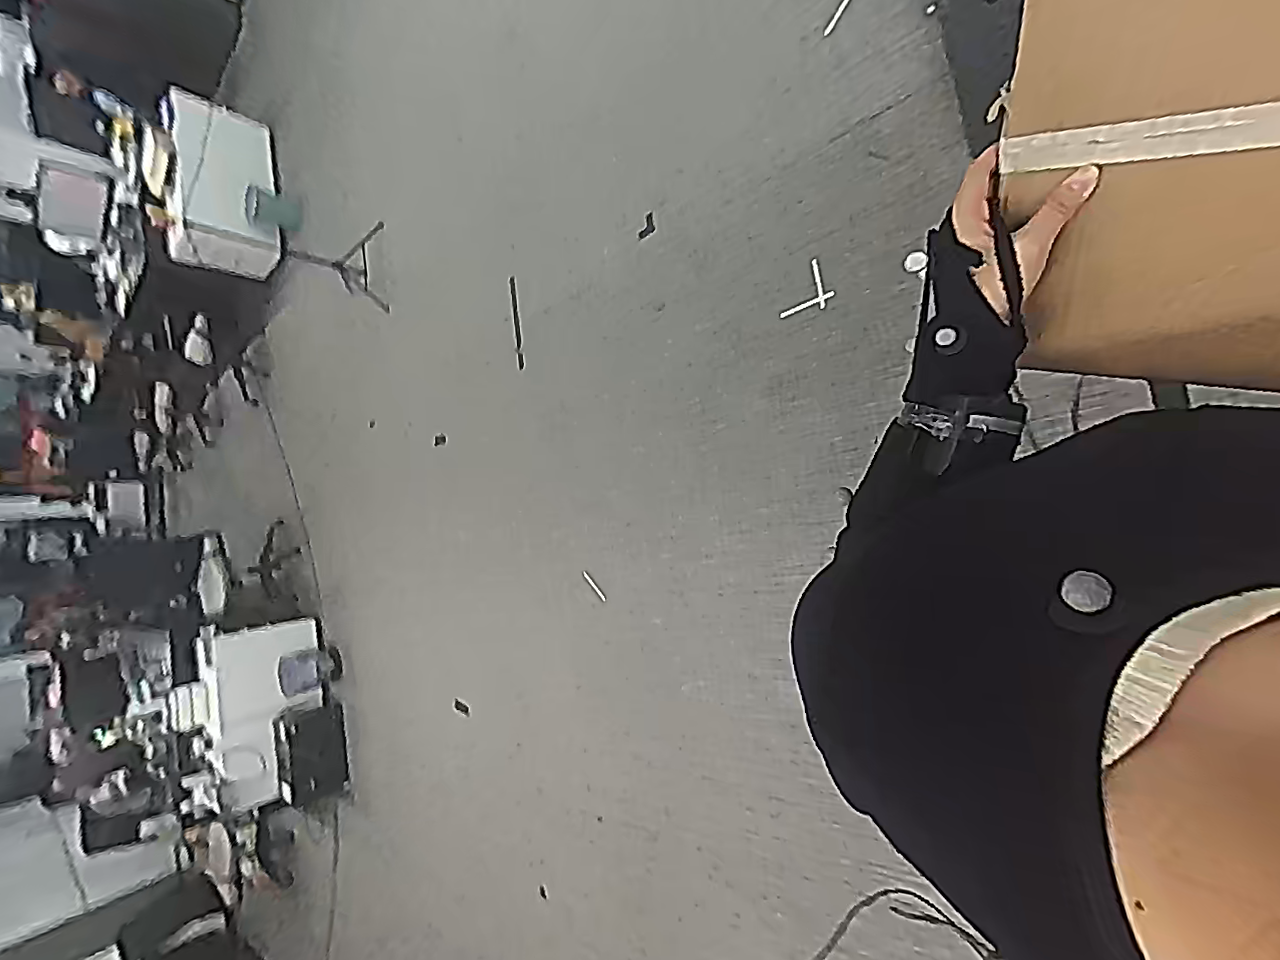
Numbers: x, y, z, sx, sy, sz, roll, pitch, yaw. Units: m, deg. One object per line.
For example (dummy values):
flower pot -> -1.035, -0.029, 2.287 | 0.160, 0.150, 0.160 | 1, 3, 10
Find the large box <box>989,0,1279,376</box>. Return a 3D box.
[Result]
large box -> 0.484, -0.268, 0.321 | 0.408, 0.320, 0.320 | 15, 138, 39

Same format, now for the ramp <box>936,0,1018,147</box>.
ramp -> 0.797, -1.260, 1.036 | 0.509, 0.206, 0.991 | -16, 82, 38
